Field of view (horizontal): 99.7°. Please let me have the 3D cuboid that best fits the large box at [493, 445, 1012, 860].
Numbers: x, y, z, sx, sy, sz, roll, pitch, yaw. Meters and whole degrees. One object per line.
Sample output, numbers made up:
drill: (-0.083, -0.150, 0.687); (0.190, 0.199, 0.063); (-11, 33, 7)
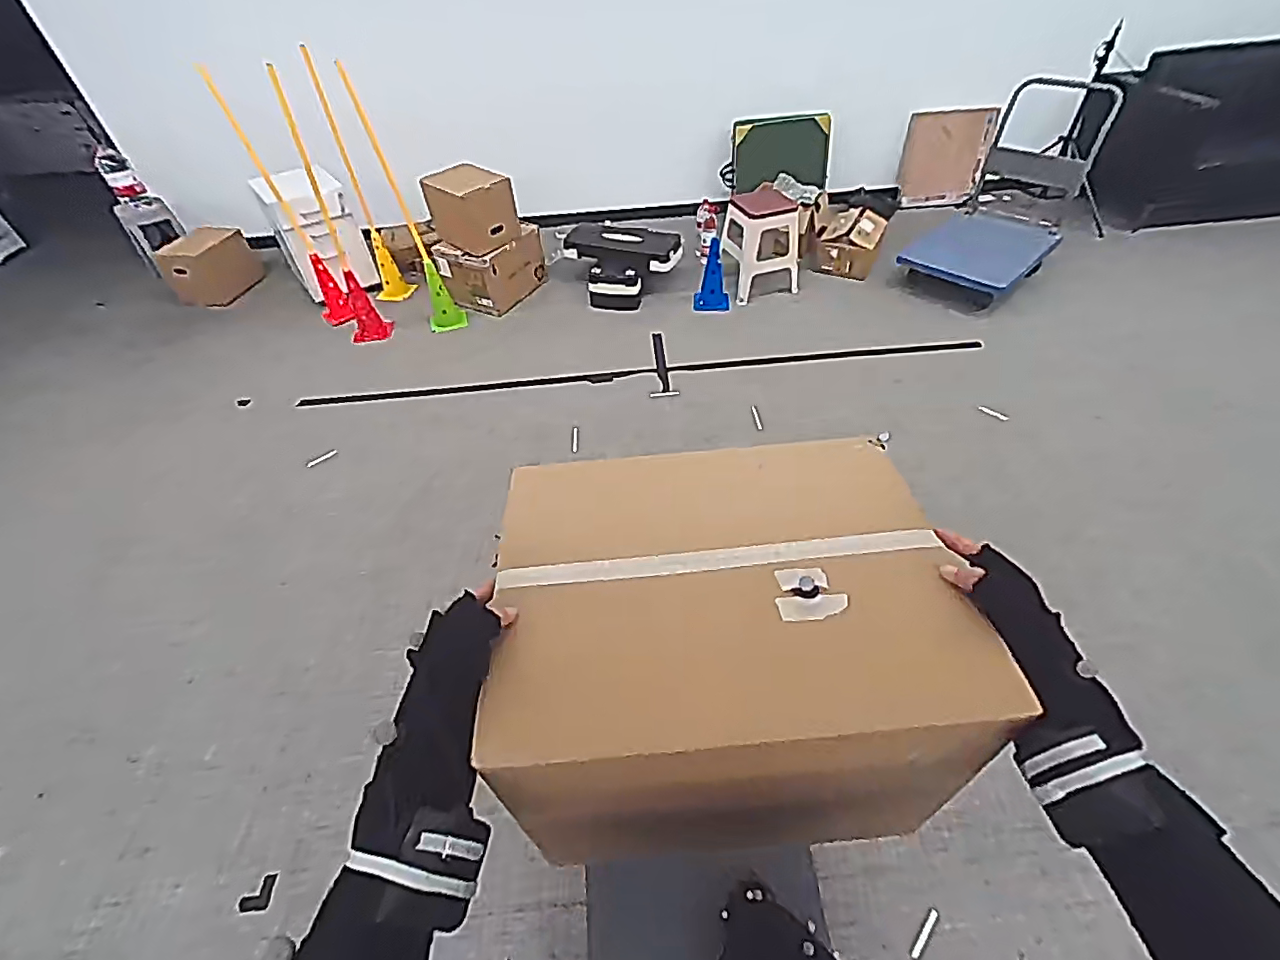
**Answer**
large box: (0.082, 0.190, 0.610); (0.408, 0.320, 0.320); (-5, 44, -1)
